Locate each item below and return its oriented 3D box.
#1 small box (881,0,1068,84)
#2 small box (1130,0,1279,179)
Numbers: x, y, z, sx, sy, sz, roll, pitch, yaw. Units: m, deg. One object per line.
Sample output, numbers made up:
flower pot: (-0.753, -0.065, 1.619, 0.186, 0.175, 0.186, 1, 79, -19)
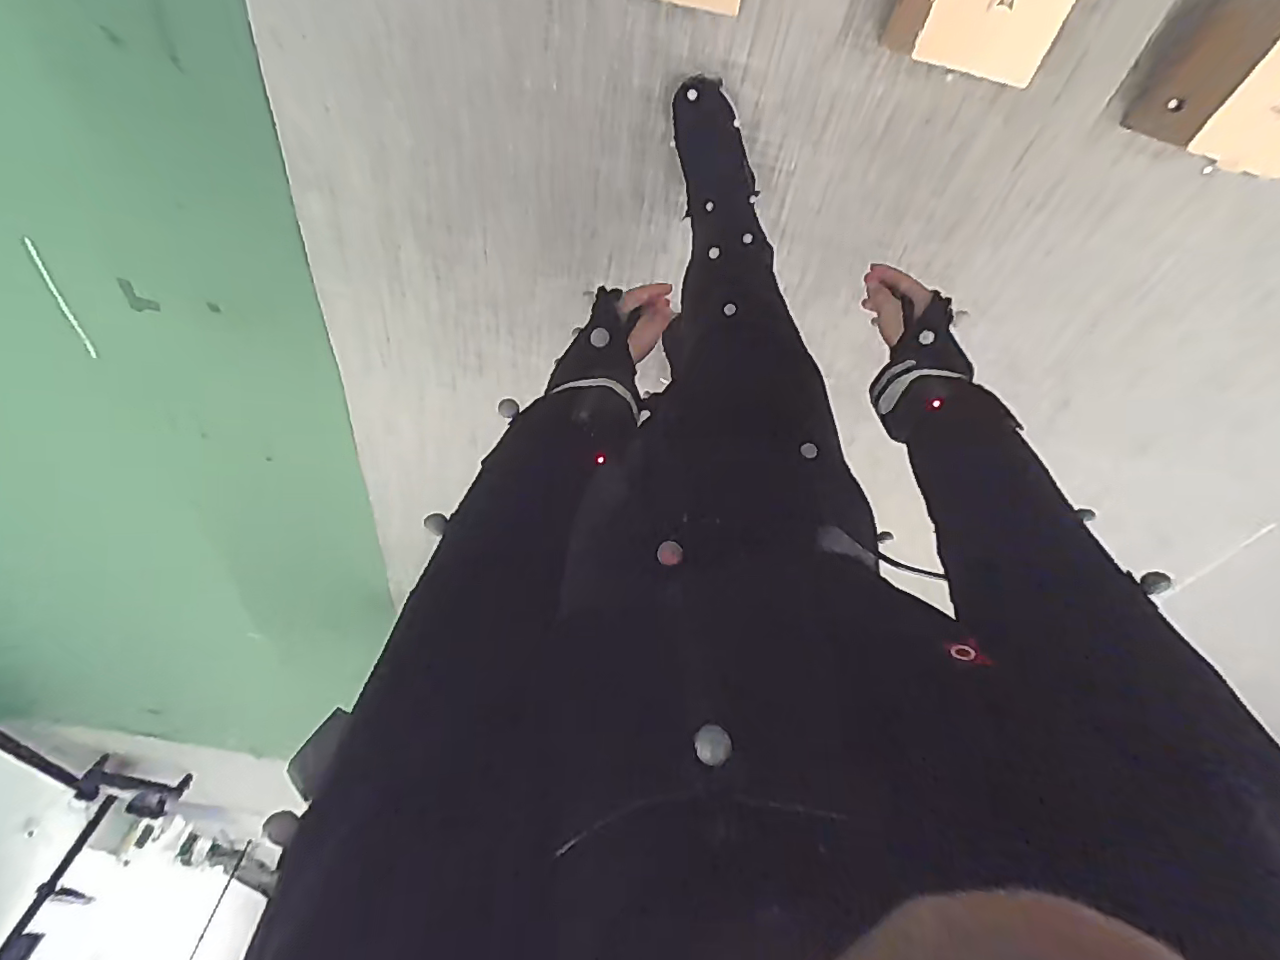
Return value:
small box: (0.468, -0.678, 0.747, 0.179, 0.176, 0.168, 12, 133, -4)
small box: (0.885, -0.579, 0.793, 0.168, 0.176, 0.179, 13, 132, -8)
